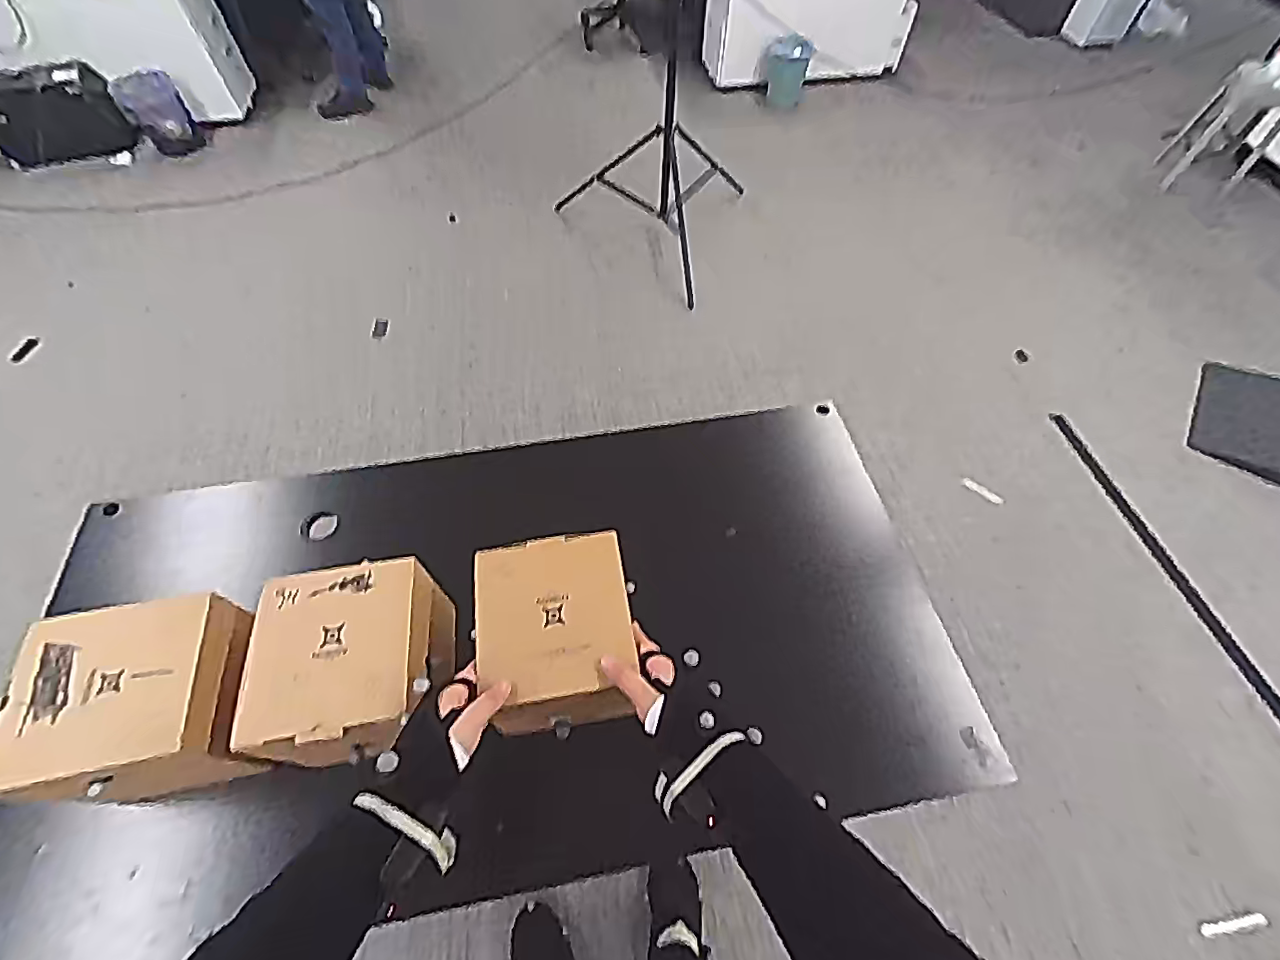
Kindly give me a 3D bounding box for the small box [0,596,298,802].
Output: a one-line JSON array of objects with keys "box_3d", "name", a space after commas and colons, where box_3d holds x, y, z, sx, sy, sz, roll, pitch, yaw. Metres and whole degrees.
[{"box_3d": [-0.531, 0.254, 0.615, 0.179, 0.176, 0.168, -10, 58, -8], "name": "small box"}]
